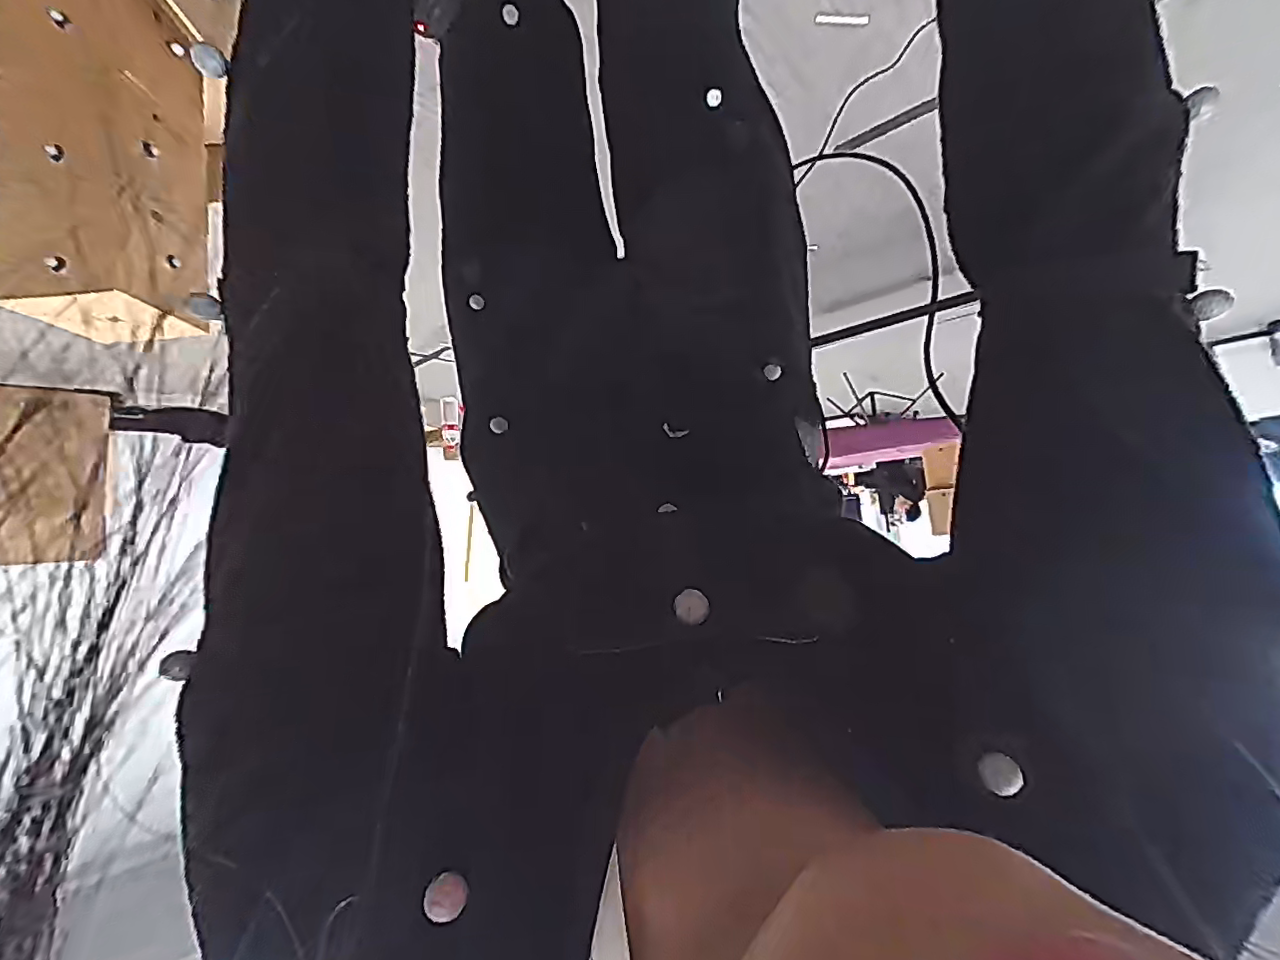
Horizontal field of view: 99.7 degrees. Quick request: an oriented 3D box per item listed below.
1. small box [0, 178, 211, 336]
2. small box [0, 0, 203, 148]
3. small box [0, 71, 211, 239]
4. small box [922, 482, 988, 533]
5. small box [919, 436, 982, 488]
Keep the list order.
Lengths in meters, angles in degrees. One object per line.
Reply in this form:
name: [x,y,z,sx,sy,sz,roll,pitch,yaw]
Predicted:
small box: [-0.793,-0.327,0.811,0.179,0.176,0.168,-3,175,-3]
small box: [-0.823,-0.650,0.838,0.179,0.176,0.168,-5,176,-7]
small box: [-0.811,-0.489,0.832,0.179,0.176,0.168,-4,175,-2]
small box: [1.144,0.097,1.964,0.168,0.176,0.179,-9,175,42]
small box: [1.145,-0.066,1.994,0.168,0.176,0.179,-9,175,40]
